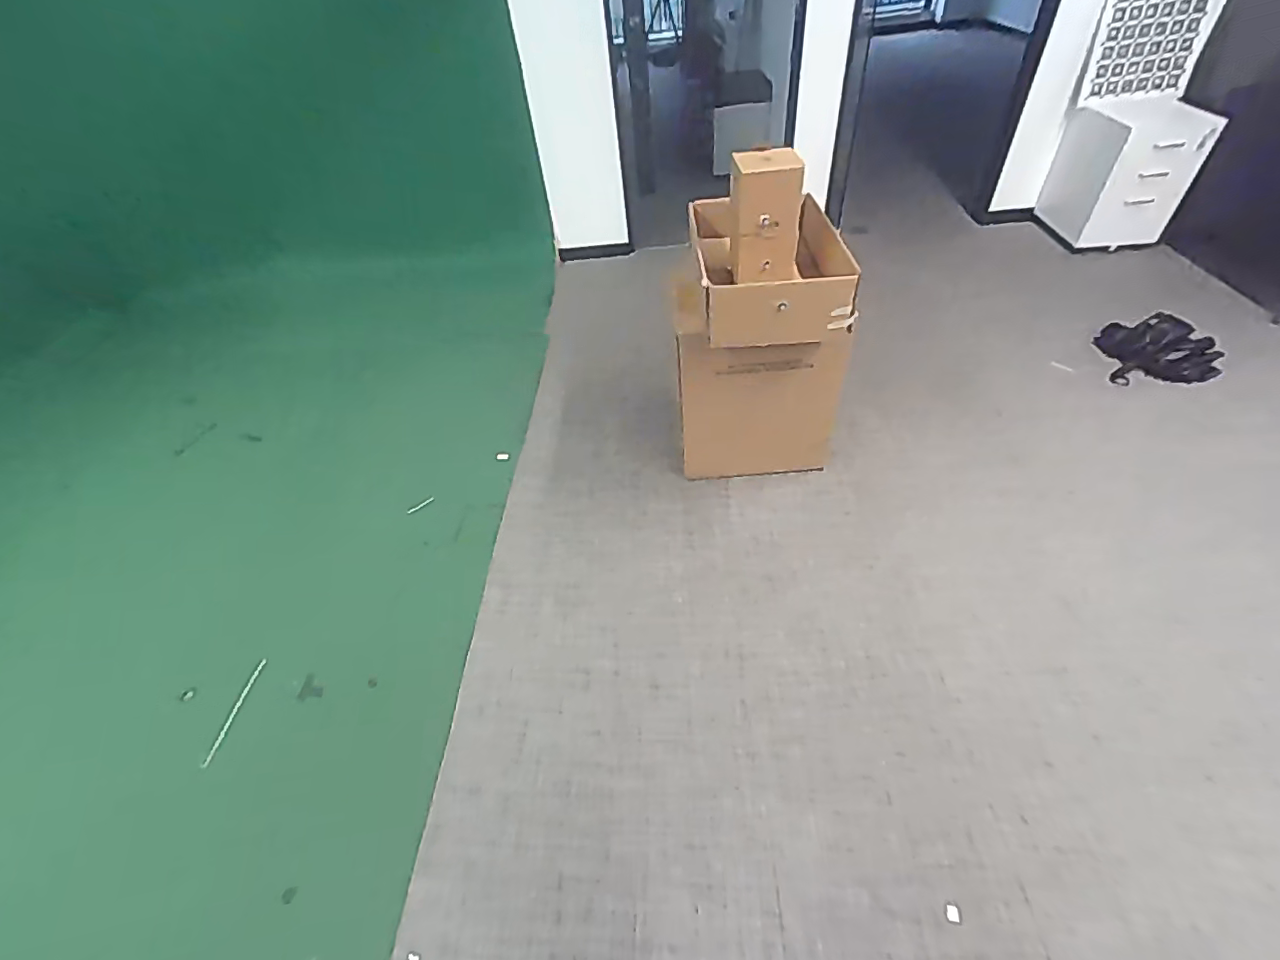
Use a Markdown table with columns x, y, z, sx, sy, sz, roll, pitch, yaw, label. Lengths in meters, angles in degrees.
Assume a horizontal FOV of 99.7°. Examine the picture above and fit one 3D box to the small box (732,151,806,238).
| x | y | z | sx | sy | sz | roll | pitch | yaw | label |
| --- | --- | --- | --- | --- | --- | --- | --- | --- | --- |
| 0.351 | -0.795 | 1.507 | 0.168 | 0.176 | 0.179 | -5 | 46 | 2 | small box |
